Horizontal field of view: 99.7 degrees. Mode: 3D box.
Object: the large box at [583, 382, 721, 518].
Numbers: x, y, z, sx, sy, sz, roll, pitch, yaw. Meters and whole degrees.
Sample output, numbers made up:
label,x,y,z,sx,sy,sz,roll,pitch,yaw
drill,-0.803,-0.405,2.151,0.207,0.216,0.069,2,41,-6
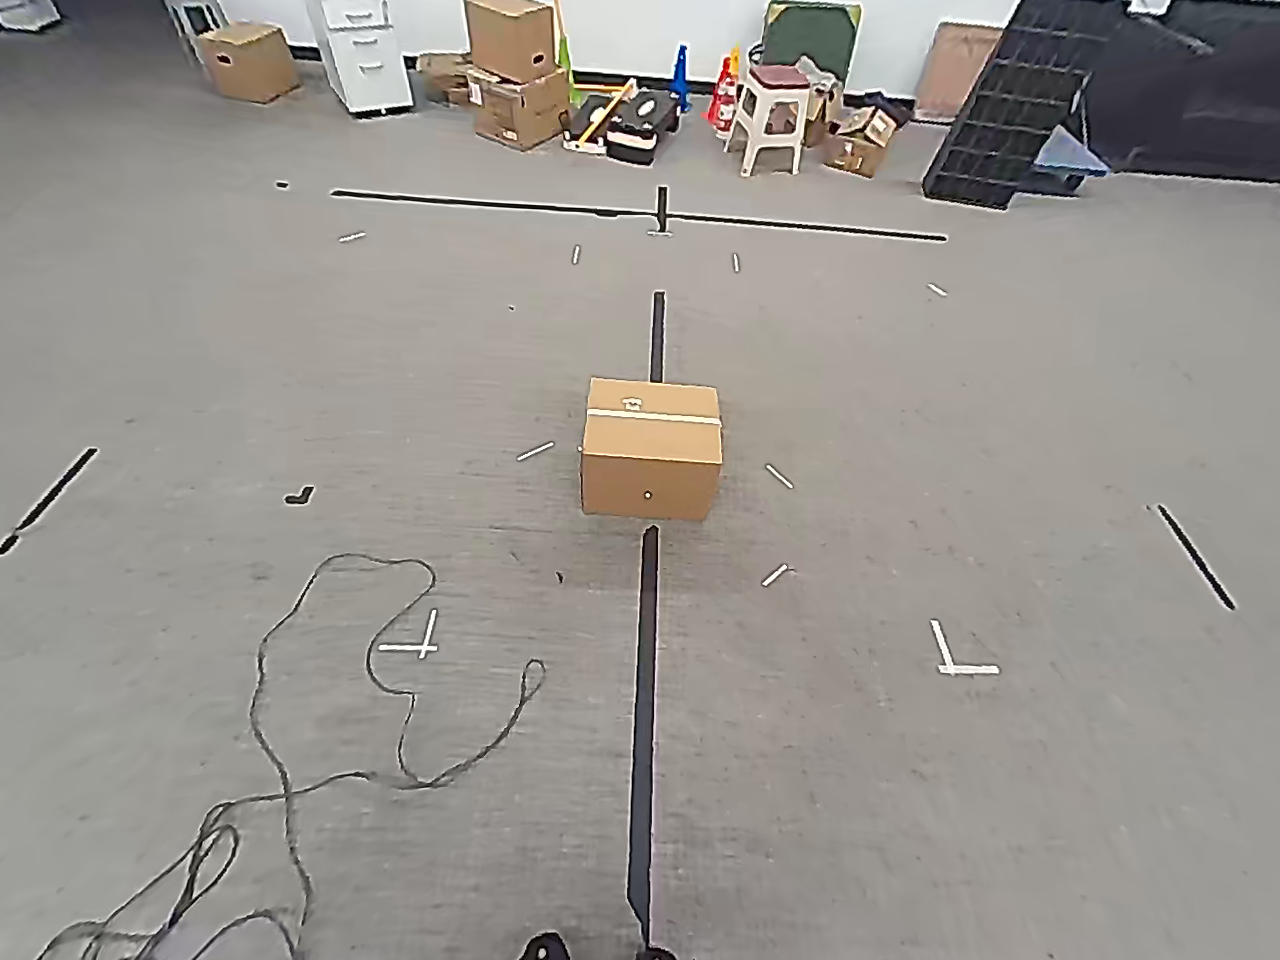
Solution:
label,x,y,z,sx,sy,sz,roll,pitch,yaw
large box,0.032,-0.091,1.749,0.408,0.320,0.320,4,53,-1
